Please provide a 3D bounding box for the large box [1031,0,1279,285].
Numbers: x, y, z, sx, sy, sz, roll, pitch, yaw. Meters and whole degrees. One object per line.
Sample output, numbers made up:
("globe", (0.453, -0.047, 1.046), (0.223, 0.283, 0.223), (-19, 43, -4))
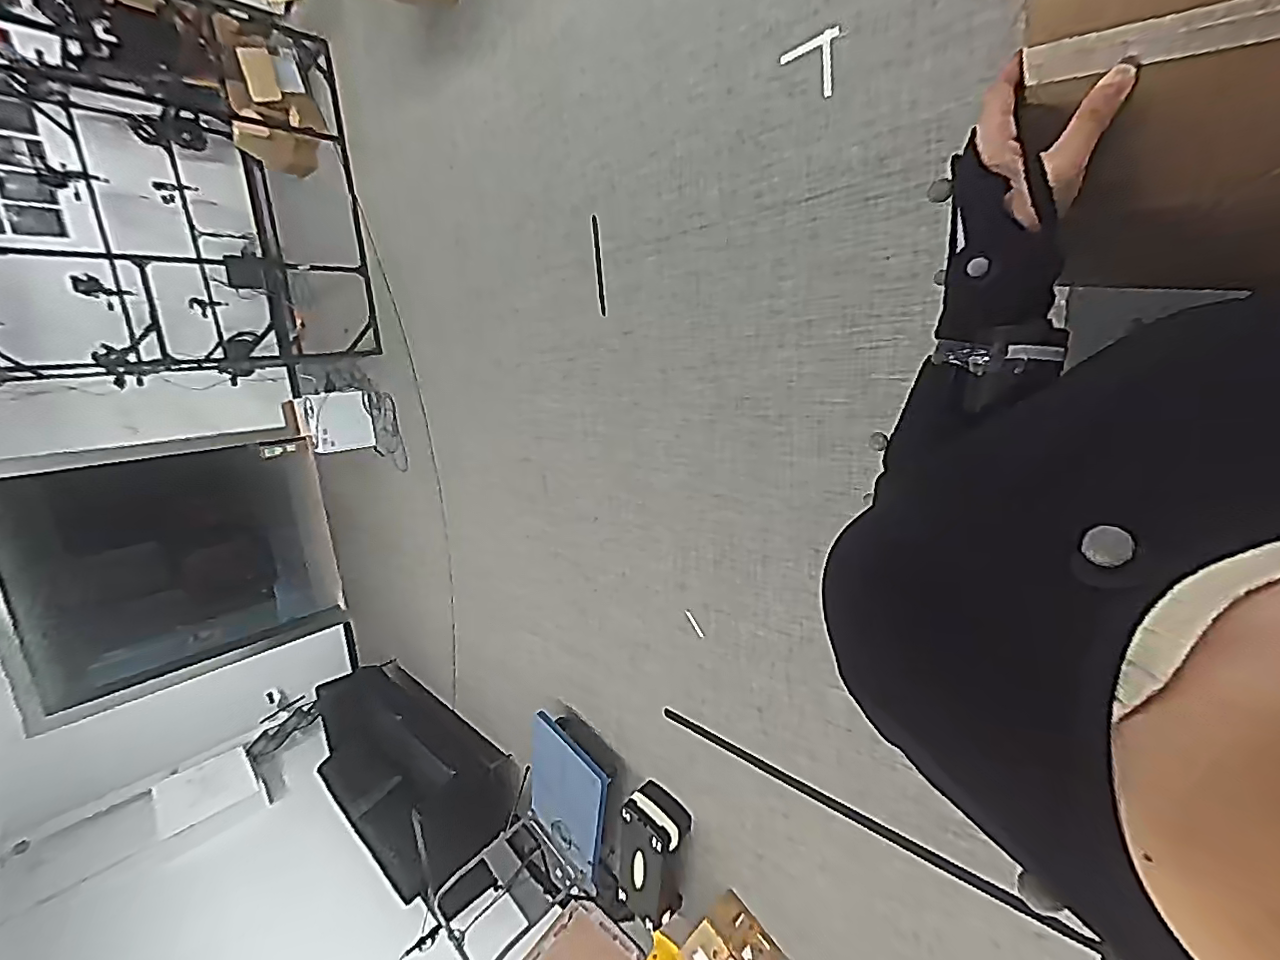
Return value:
("large box", (0.469, -0.315, 0.249), (0.408, 0.320, 0.320), (20, 154, 43))
